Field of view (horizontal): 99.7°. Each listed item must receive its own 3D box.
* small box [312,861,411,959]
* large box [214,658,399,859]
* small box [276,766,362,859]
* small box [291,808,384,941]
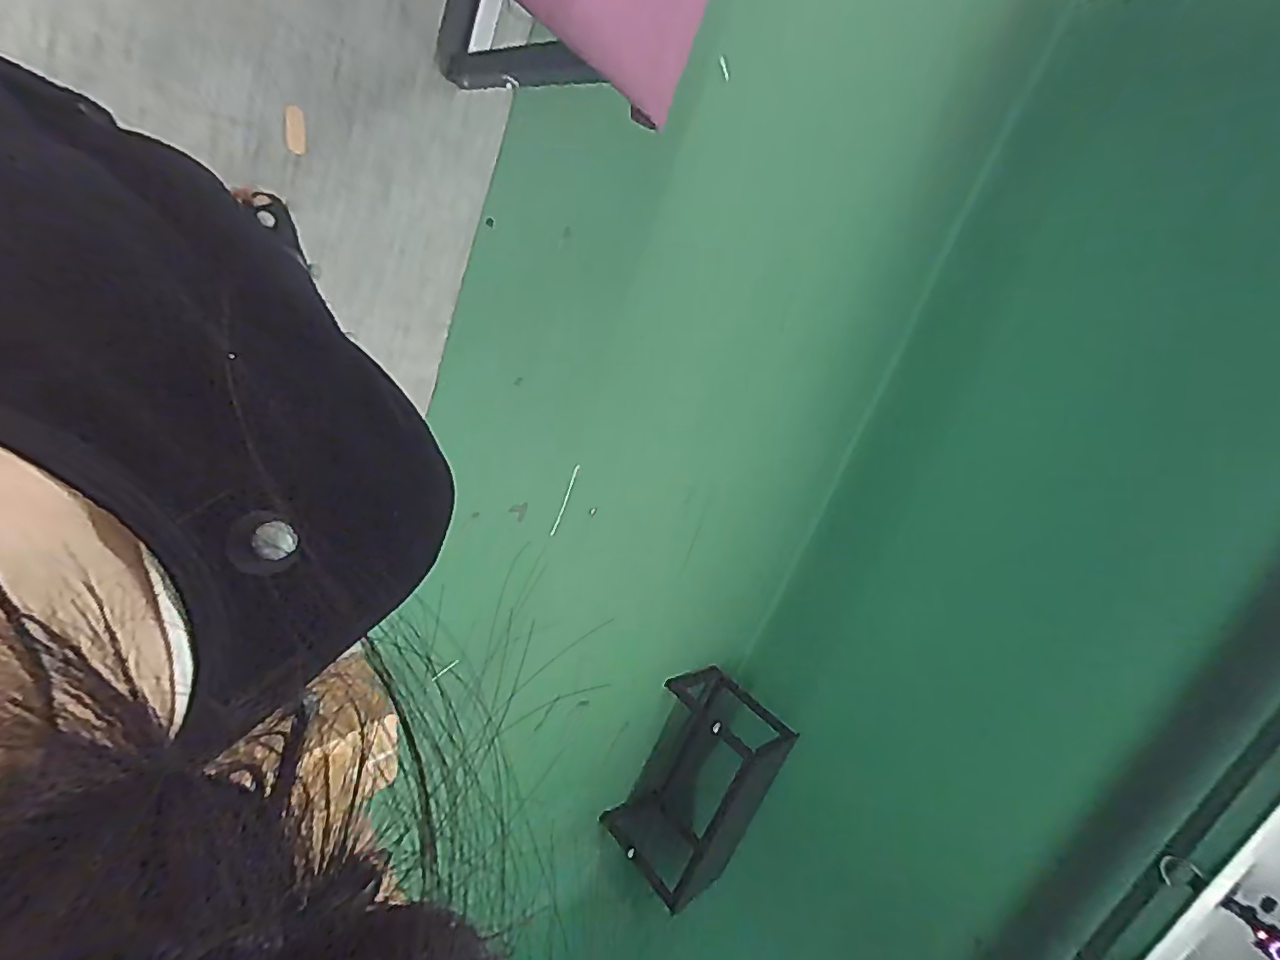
[{"bbox_3d":[-0.657,1.060,1.272,0.179,0.176,0.168,-12,123,-41],"label":"small box"},{"bbox_3d":[-1.008,0.824,1.659,0.408,0.320,0.320,-14,125,-43],"label":"large box"},{"bbox_3d":[-0.873,0.920,1.474,0.168,0.176,0.179,-12,123,-42],"label":"small box"},{"bbox_3d":[-0.767,0.990,1.372,0.179,0.176,0.168,-14,124,-42],"label":"small box"}]
